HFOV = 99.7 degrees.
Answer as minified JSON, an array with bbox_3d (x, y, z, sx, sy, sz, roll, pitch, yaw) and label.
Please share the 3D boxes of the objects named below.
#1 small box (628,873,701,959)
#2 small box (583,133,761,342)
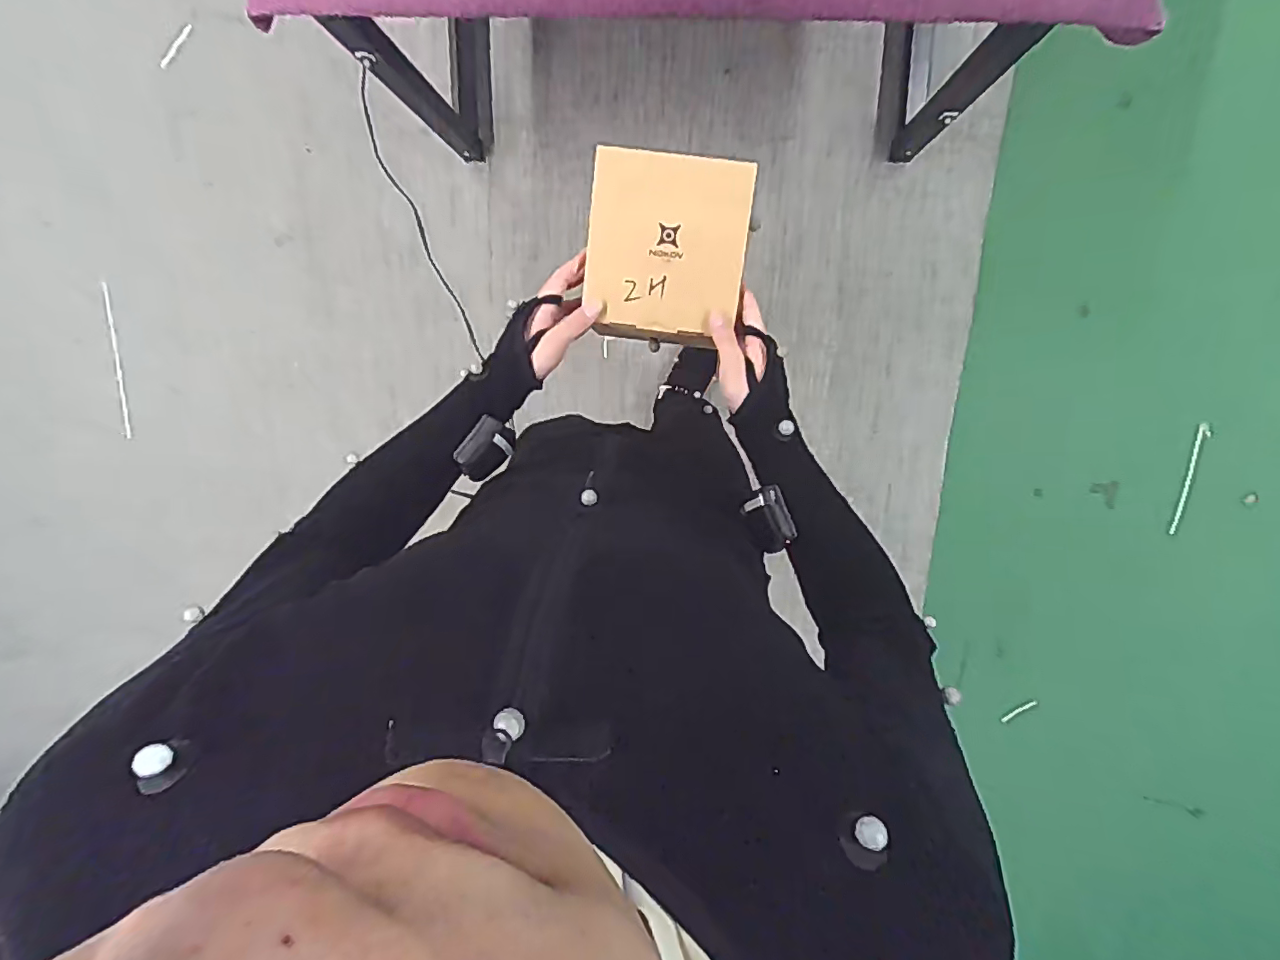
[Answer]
[{"bbox_3d":[0.060,1.132,1.344,0.168,0.176,0.179,6,102,2],"label":"small box"},{"bbox_3d":[0.032,-0.267,0.636,0.168,0.176,0.179,8,101,0],"label":"small box"}]
